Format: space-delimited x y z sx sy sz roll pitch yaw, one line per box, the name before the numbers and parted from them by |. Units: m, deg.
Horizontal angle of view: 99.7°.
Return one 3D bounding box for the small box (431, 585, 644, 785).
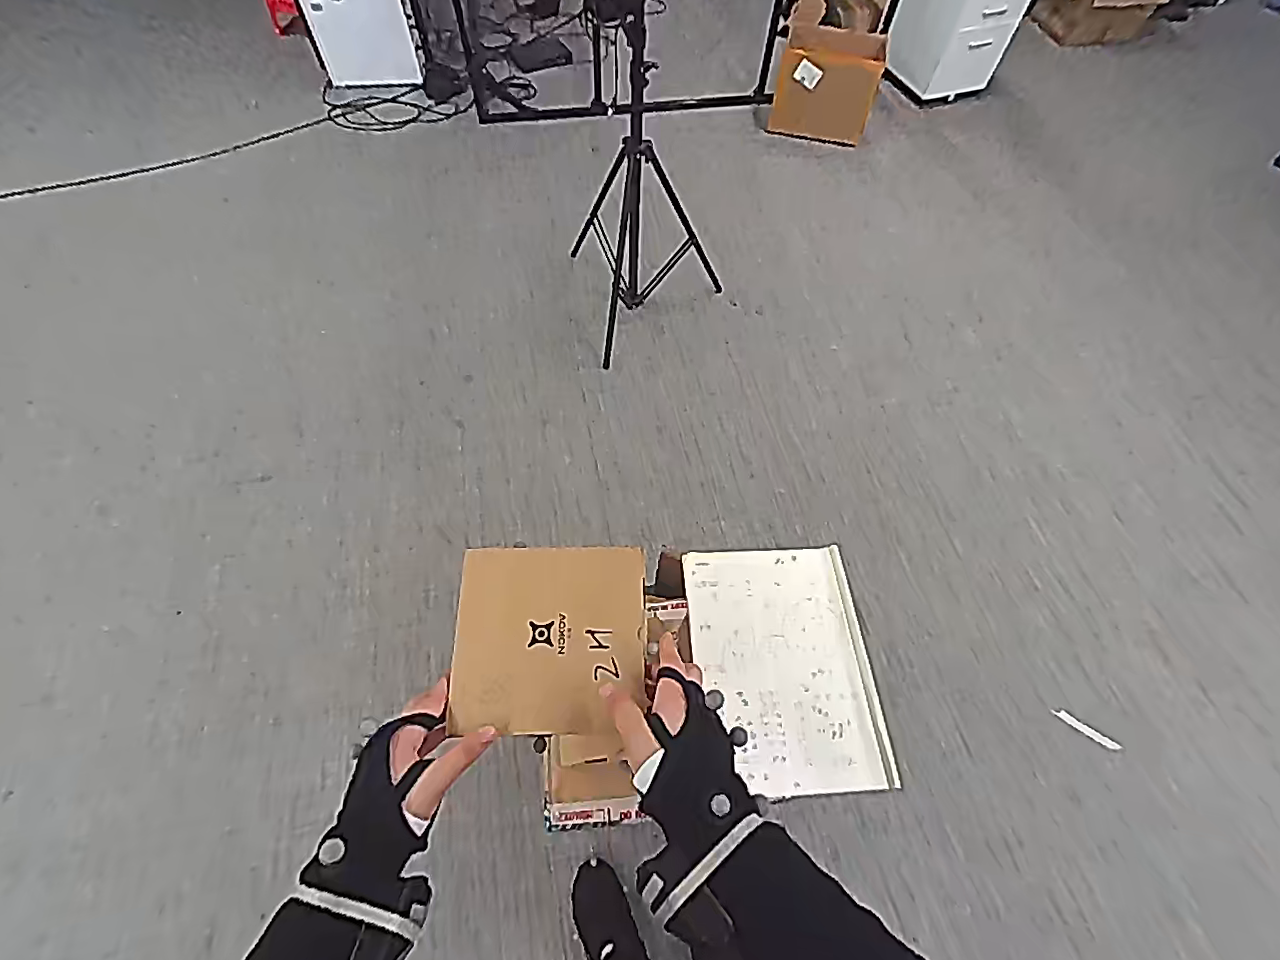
small box | -0.085 0.206 0.545 0.179 0.176 0.168 1 66 -2
